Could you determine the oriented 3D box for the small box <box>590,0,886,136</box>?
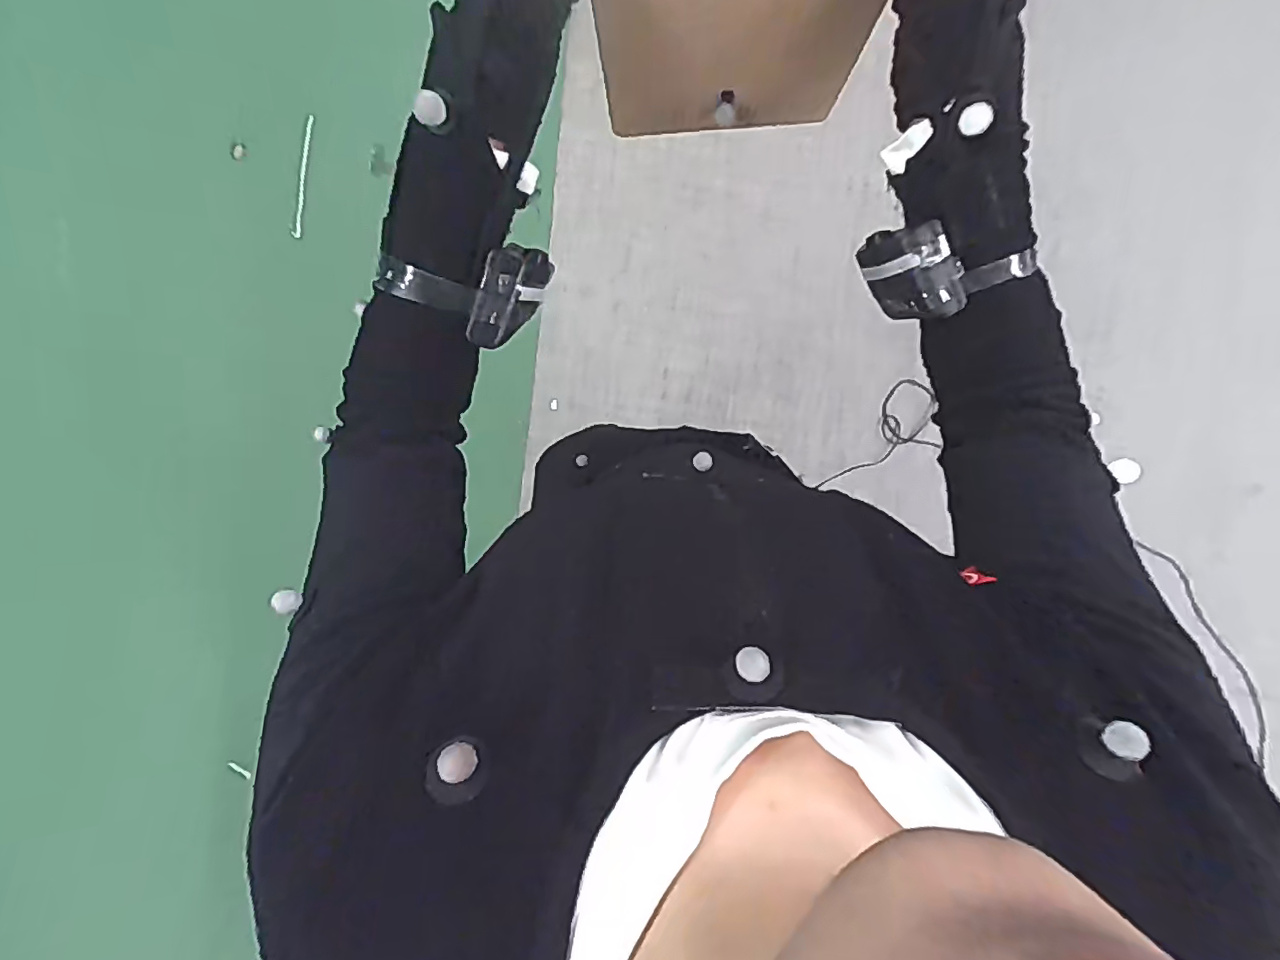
[{"bbox_3d":[0.056,-0.357,0.354,0.179,0.176,0.168,-2,93,1],"label":"small box"}]
